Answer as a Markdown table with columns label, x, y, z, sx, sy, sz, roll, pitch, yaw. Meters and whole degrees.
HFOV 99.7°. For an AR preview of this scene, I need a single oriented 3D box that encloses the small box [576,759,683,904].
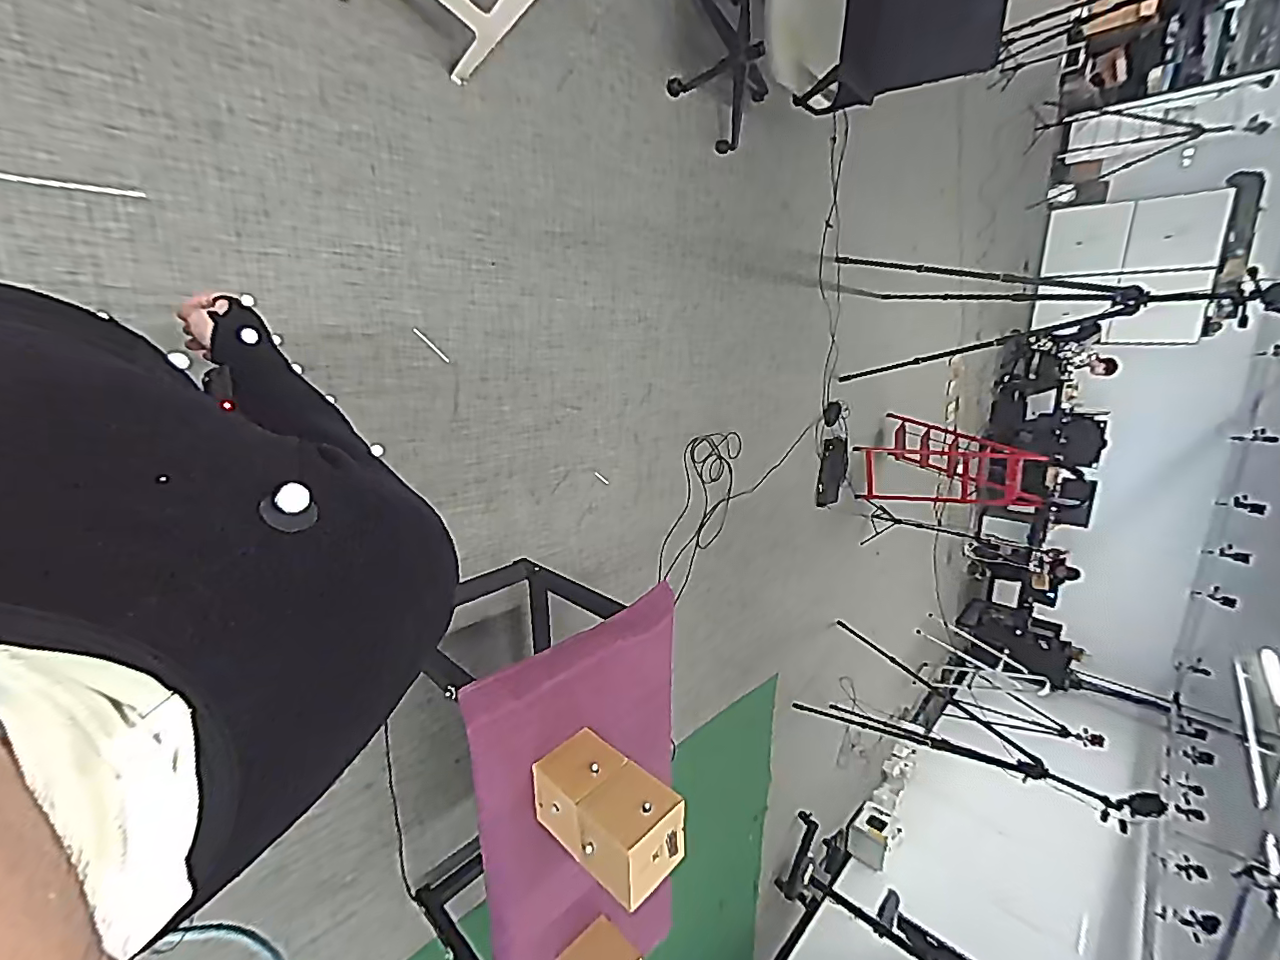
| label | x | y | z | sx | sy | sz | roll | pitch | yaw |
| --- | --- | --- | --- | --- | --- | --- | --- | --- | --- |
| small box | -0.023 | 0.771 | 1.209 | 0.179 | 0.176 | 0.168 | -16 | 111 | -43 |

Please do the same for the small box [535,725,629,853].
| label | x | y | z | sx | sy | sz | roll | pitch | yaw |
| --- | --- | --- | --- | --- | --- | --- | --- | --- | --- |
| small box | -0.143 | 0.742 | 1.318 | 0.179 | 0.176 | 0.168 | -17 | 112 | -44 |
